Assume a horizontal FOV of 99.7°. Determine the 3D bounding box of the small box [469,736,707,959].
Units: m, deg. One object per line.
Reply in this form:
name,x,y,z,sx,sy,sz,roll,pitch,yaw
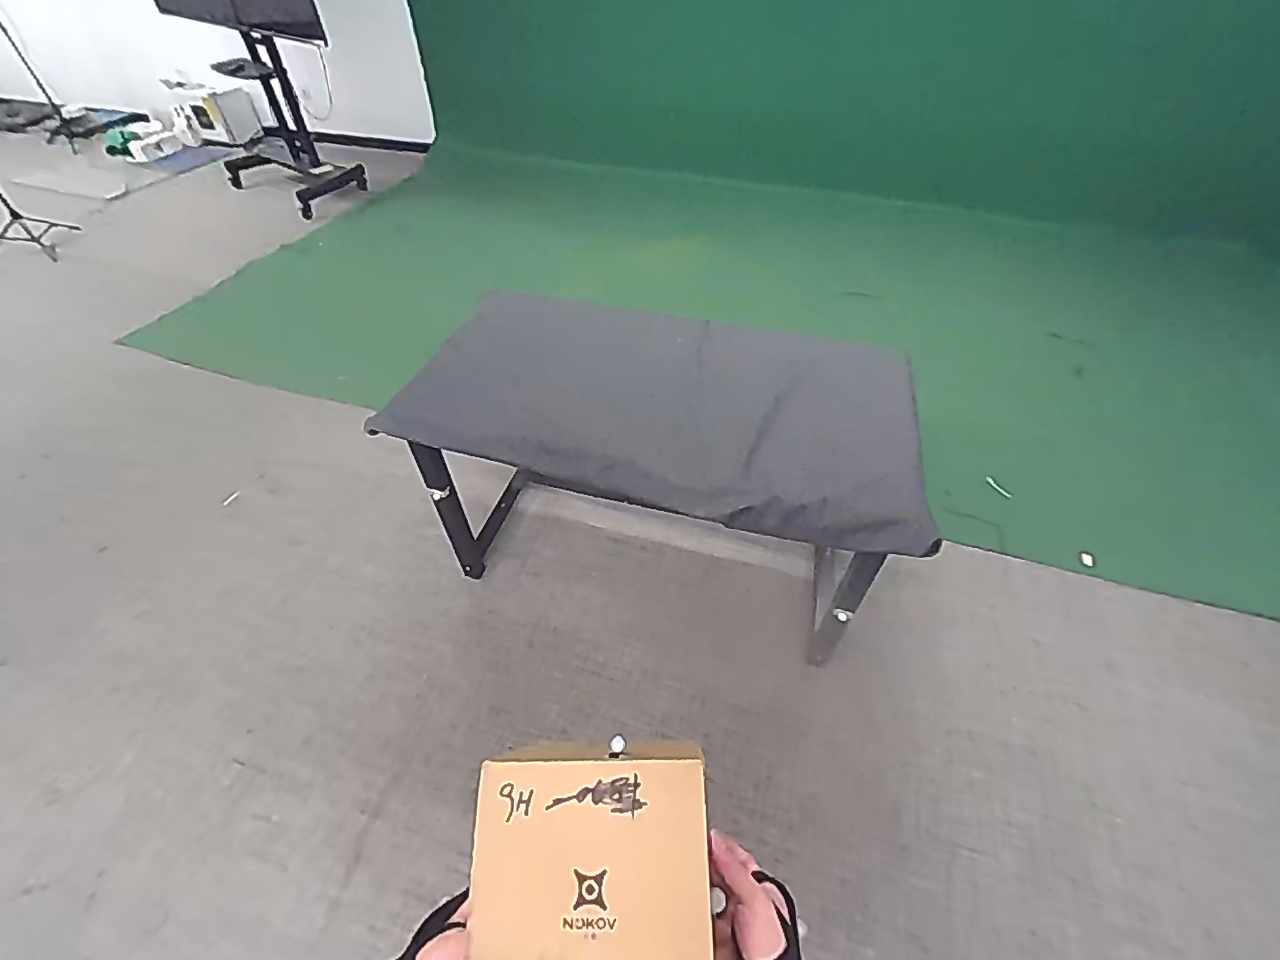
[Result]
small box,-0.030,0.320,0.450,0.168,0.176,0.179,-1,70,3
